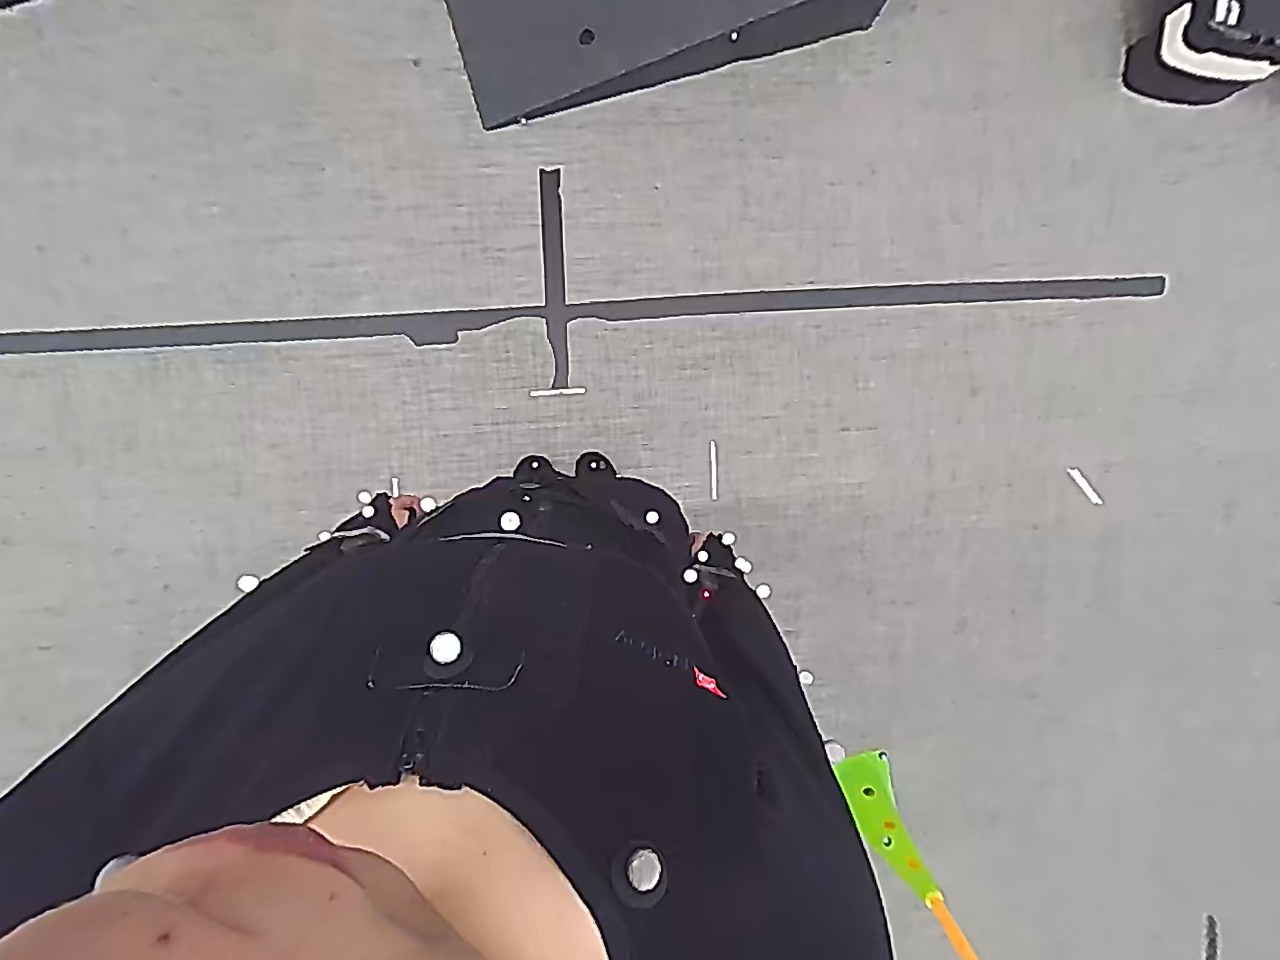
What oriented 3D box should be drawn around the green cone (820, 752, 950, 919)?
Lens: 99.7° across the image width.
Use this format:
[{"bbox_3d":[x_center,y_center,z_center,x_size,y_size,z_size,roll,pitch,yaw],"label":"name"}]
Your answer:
[{"bbox_3d":[0.605,0.865,1.293,0.200,0.368,0.202,-13,97,-2],"label":"green cone"}]
